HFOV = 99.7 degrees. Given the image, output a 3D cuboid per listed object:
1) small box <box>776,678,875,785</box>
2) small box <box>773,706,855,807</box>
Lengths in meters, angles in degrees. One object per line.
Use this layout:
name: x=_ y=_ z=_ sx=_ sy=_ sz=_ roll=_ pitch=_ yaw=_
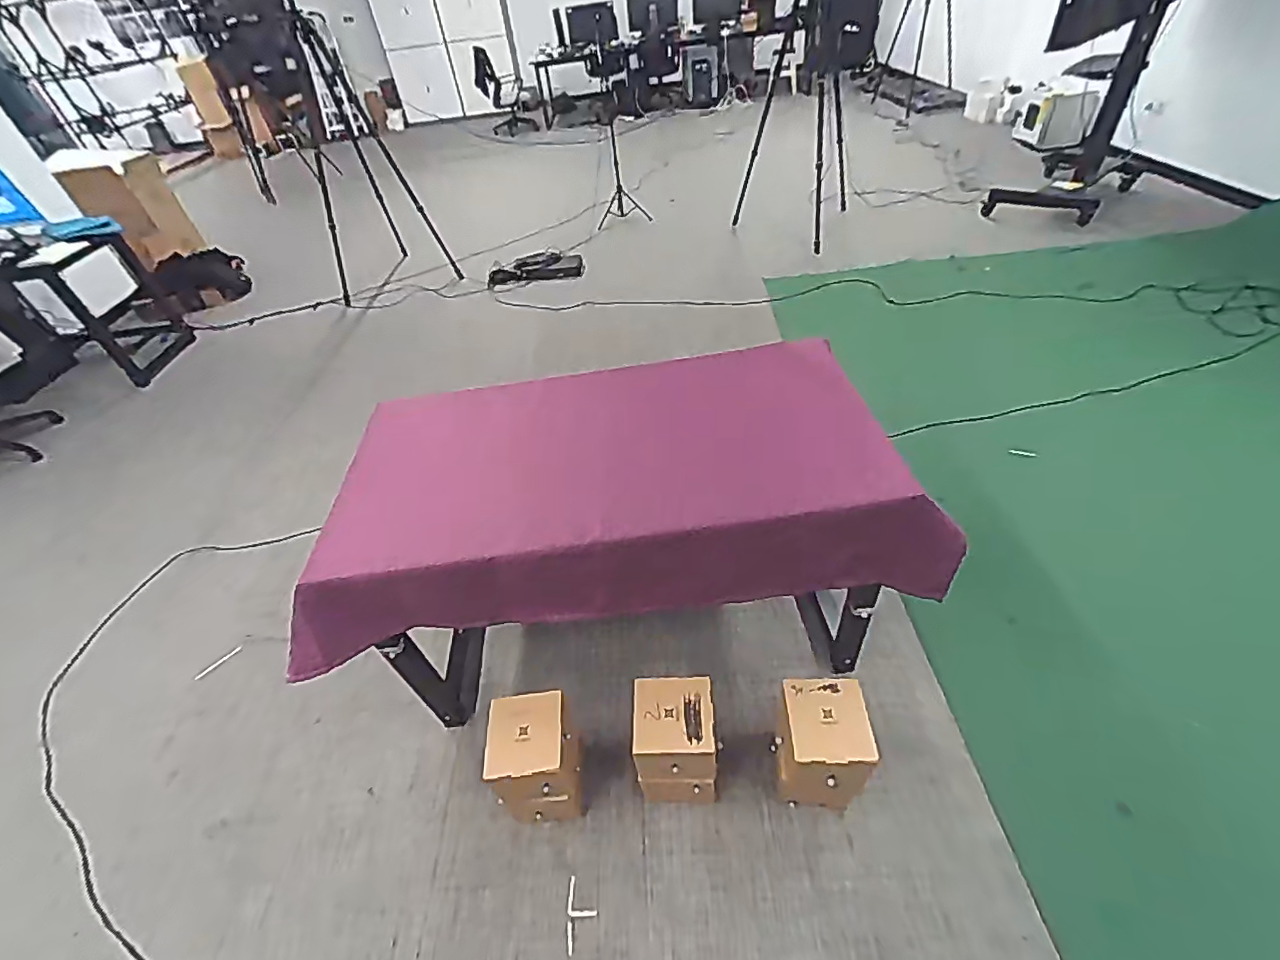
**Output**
small box: x=0.400 y=0.559 z=1.196 sx=0.168 sy=0.176 sz=0.179 roll=-1 pitch=46 yaw=5
small box: x=0.415 y=0.674 z=1.315 sx=0.168 sy=0.176 sz=0.179 roll=0 pitch=44 yaw=9
